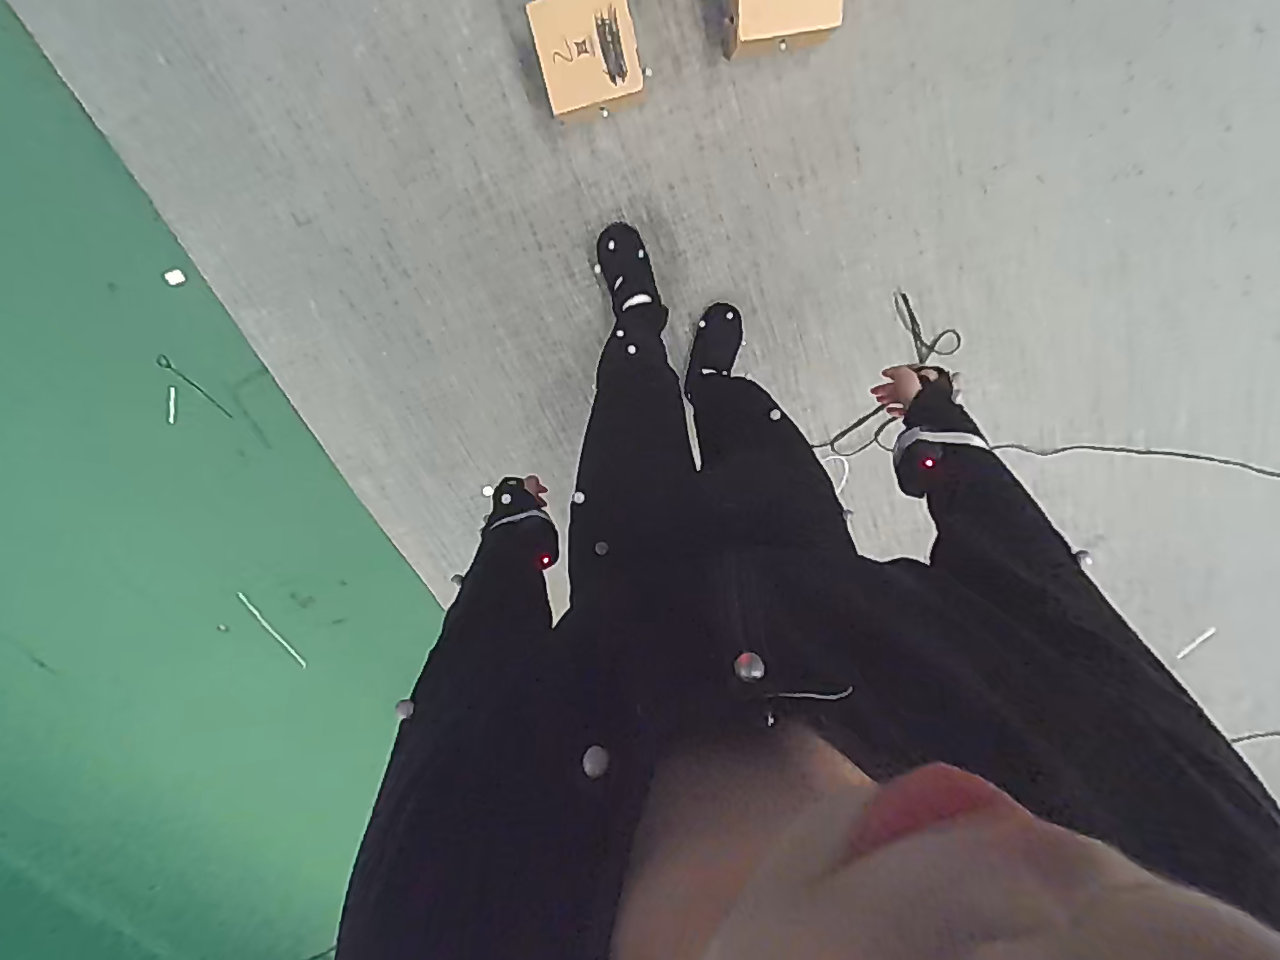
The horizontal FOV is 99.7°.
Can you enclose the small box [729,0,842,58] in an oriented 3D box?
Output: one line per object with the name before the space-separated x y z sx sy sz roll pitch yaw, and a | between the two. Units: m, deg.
small box | 0.248 -0.865 0.947 0.179 0.176 0.168 -3 118 6
